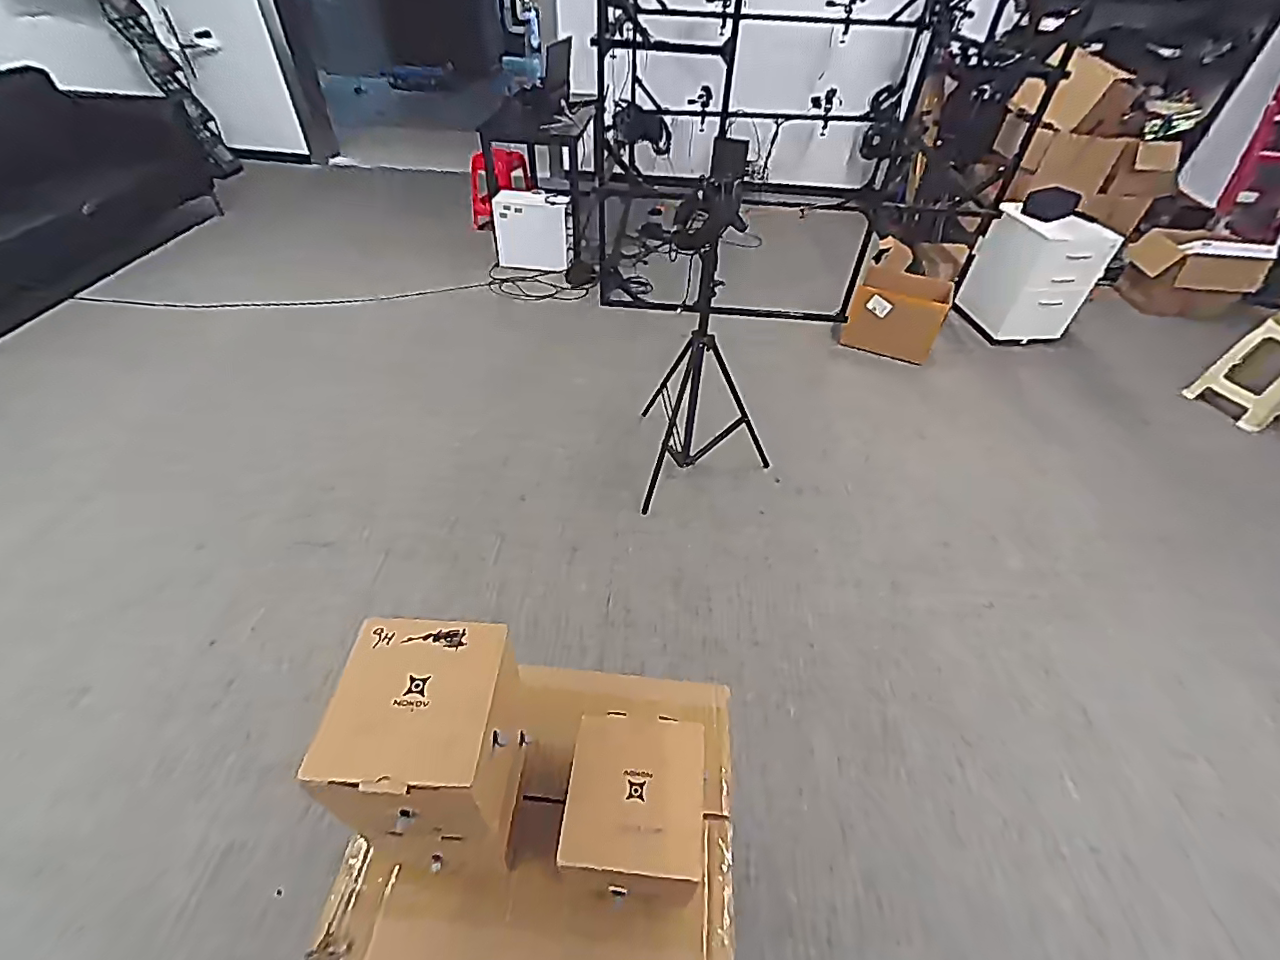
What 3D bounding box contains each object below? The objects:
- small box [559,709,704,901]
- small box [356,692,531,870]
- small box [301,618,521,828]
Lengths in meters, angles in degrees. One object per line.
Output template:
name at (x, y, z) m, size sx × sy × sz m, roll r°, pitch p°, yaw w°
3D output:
small box at (-0.005, 0.430, 0.717) m, size 0.168 × 0.176 × 0.179 m, roll 3°, pitch 46°, yaw 3°
small box at (-0.247, 0.400, 0.732) m, size 0.168 × 0.176 × 0.179 m, roll 5°, pitch 44°, yaw 0°
small box at (-0.238, 0.280, 0.619) m, size 0.168 × 0.176 × 0.179 m, roll 3°, pitch 45°, yaw -1°
